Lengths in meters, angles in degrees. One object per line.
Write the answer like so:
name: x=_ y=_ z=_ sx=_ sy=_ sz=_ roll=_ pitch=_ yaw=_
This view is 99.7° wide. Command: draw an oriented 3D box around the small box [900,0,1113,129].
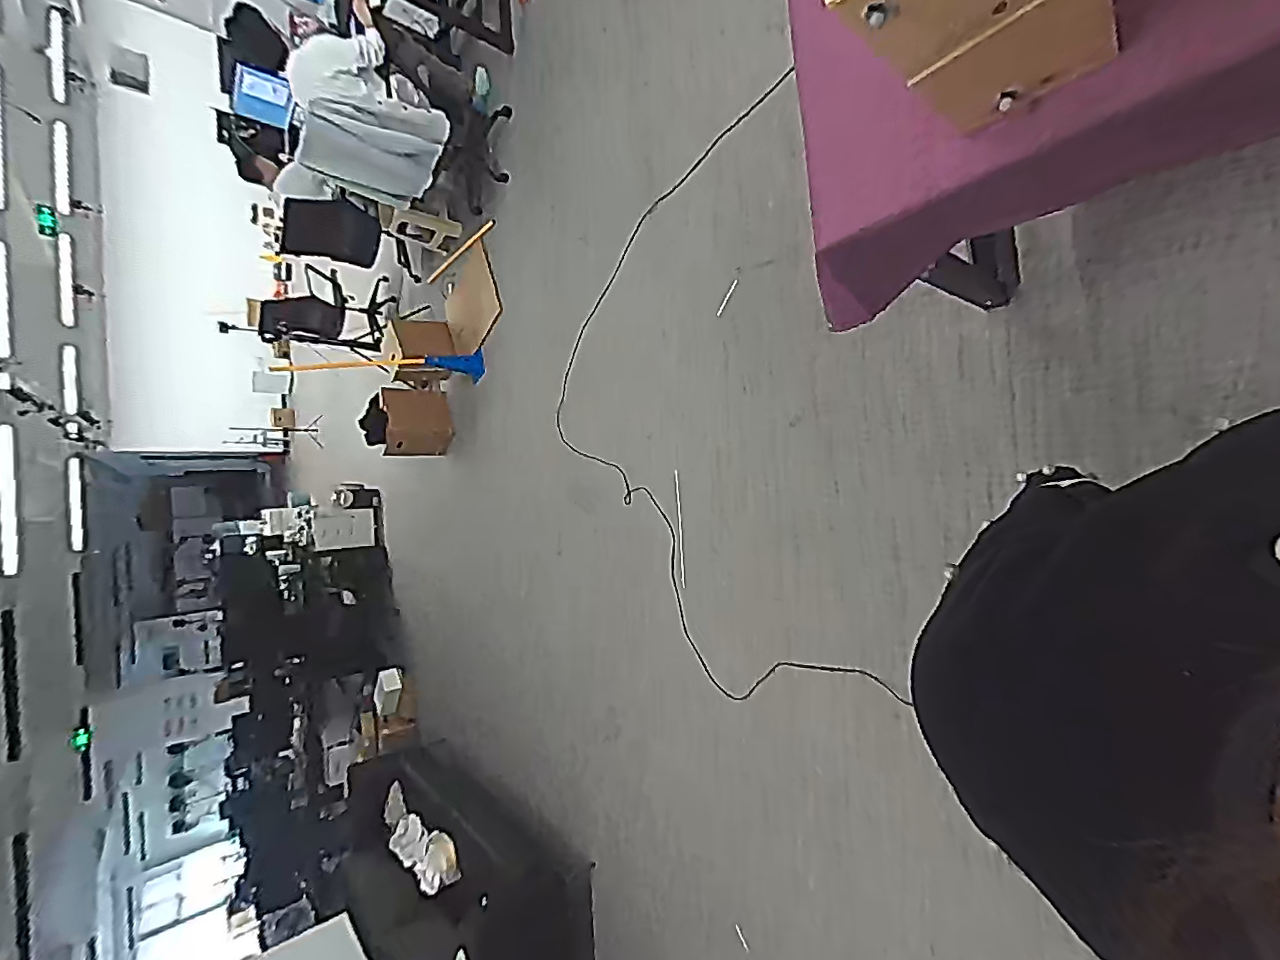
small box: x=0.423 y=-0.561 z=0.629 sx=0.168 sy=0.176 sz=0.179 roll=-6 pitch=88 yaw=51
